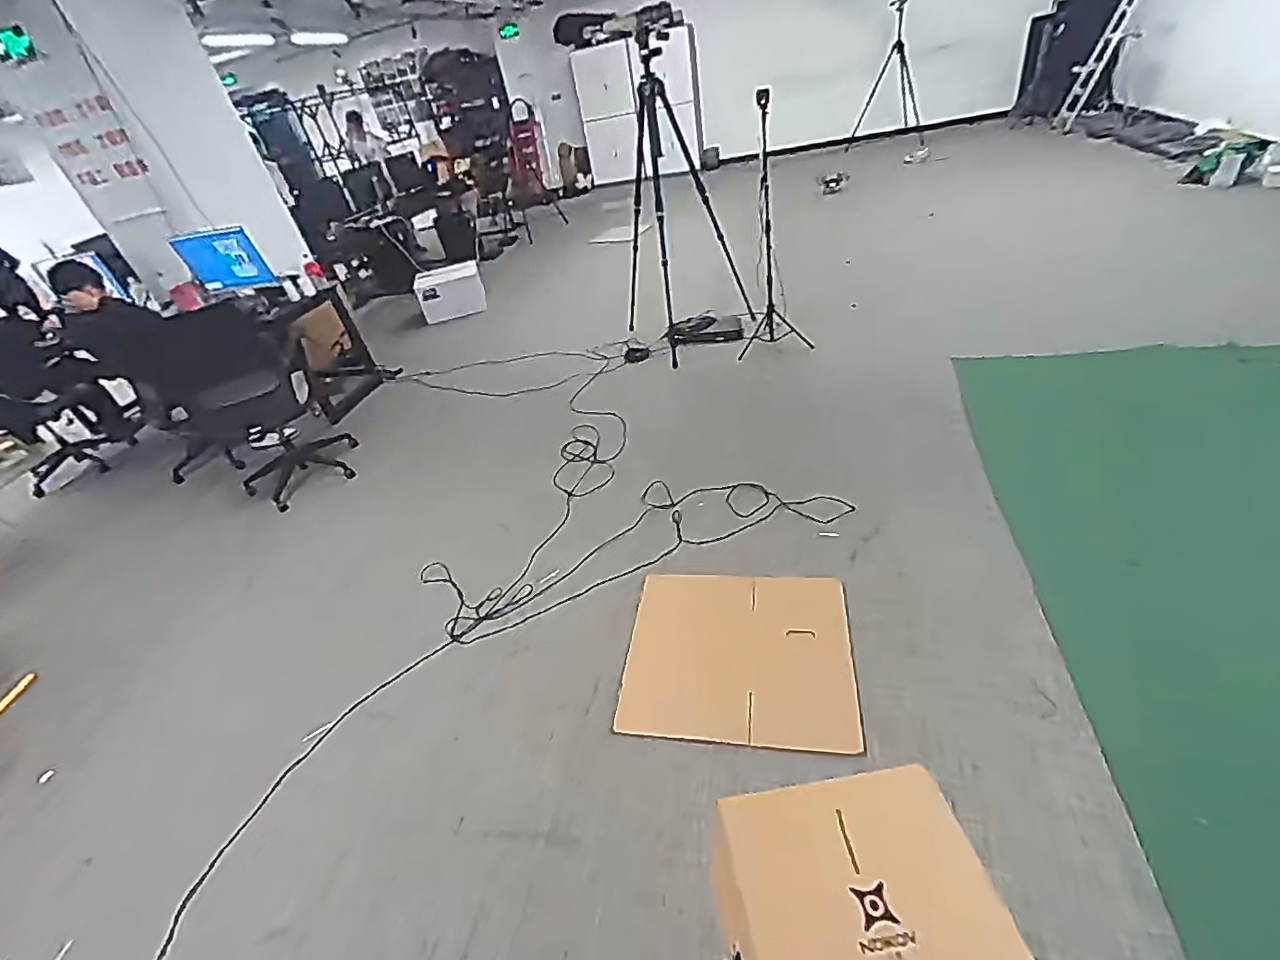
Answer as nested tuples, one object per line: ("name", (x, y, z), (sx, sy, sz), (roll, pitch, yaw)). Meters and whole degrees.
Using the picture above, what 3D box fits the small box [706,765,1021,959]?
("small box", (0.148, 0.344, 0.389), (0.168, 0.176, 0.179), (-7, 37, -6))
